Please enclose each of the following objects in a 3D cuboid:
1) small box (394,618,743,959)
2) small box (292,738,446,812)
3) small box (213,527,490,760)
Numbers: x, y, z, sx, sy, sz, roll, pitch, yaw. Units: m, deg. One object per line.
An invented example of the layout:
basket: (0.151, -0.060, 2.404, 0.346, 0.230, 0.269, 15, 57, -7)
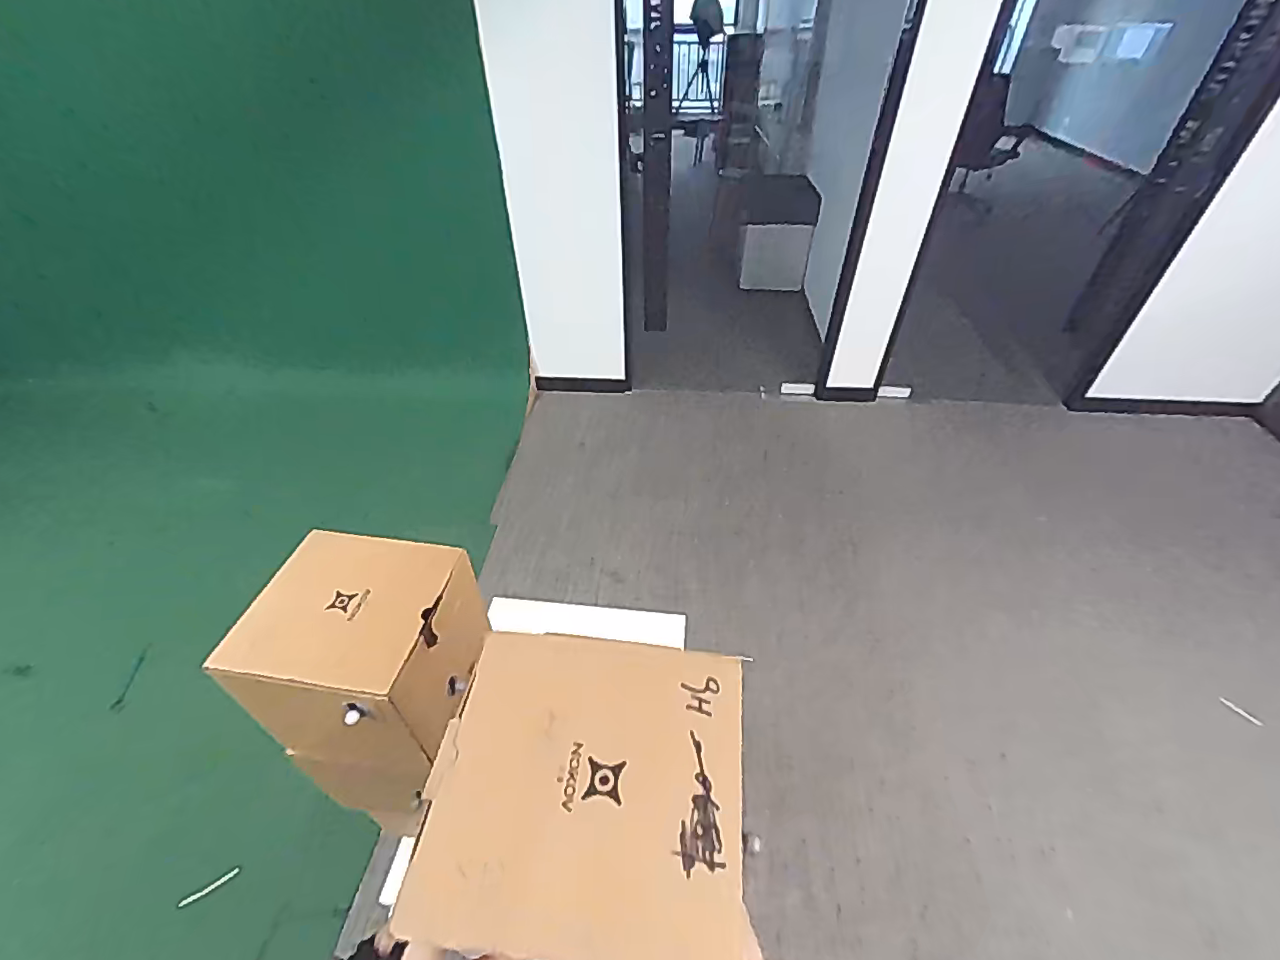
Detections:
small box: (-0.027, 0.217, 0.374, 0.179, 0.176, 0.168, 5, 48, 6)
small box: (-0.276, 0.296, 0.678, 0.179, 0.176, 0.168, 4, 42, 5)
small box: (-0.277, 0.172, 0.572, 0.179, 0.176, 0.168, 6, 42, 5)
